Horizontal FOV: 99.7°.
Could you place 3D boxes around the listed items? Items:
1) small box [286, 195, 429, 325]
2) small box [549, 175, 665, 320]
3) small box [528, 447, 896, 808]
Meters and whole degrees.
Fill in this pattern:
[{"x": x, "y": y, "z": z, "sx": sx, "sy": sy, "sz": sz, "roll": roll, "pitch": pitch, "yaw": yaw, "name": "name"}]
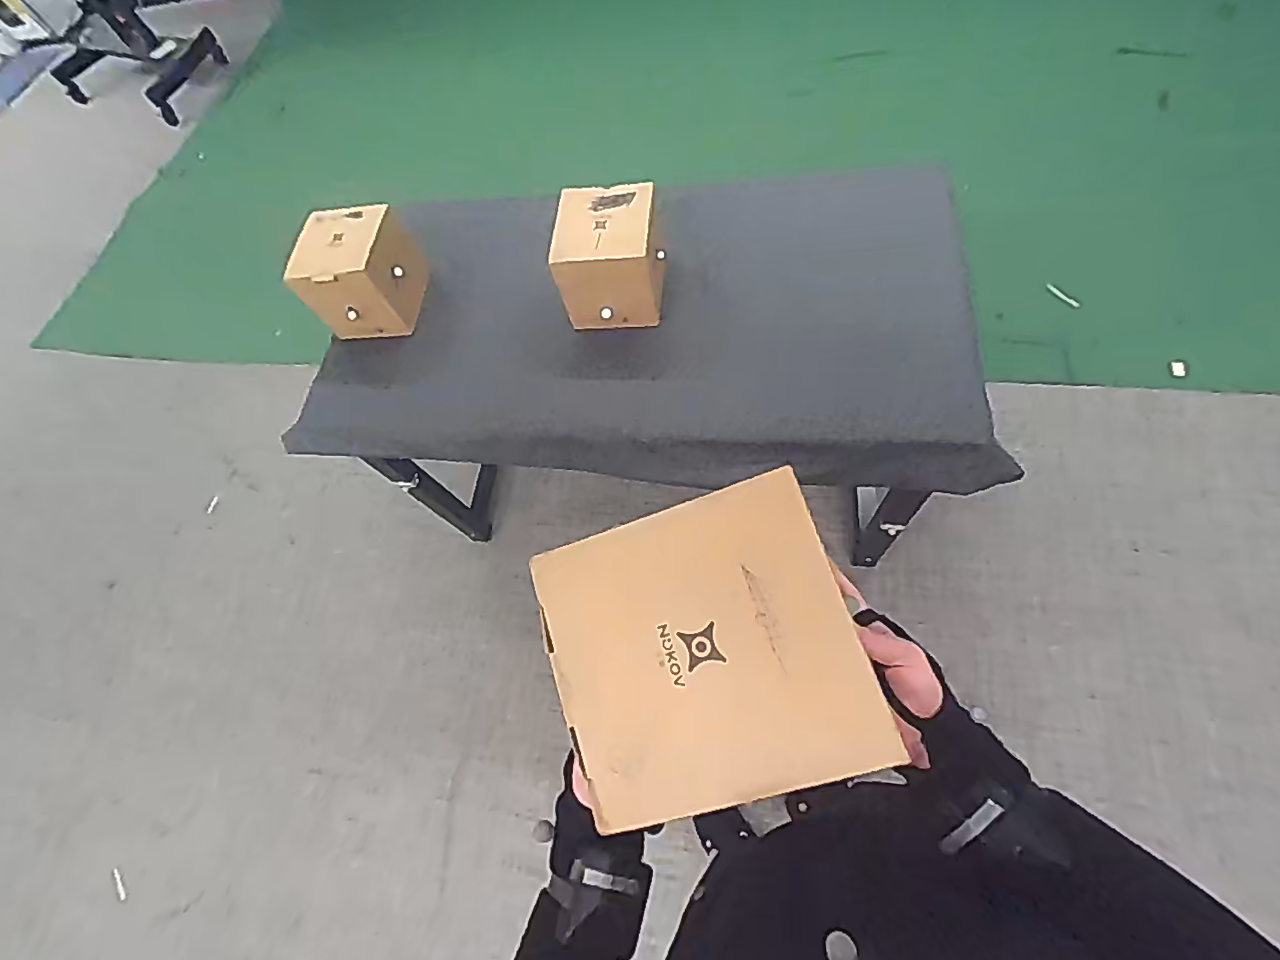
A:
[{"x": -0.540, "y": -0.421, "z": 1.062, "sx": 0.168, "sy": 0.176, "sz": 0.179, "roll": 0, "pitch": 66, "yaw": 9, "name": "small box"}, {"x": -0.048, "y": -0.411, "z": 0.971, "sx": 0.168, "sy": 0.176, "sz": 0.179, "roll": 1, "pitch": 67, "yaw": 11, "name": "small box"}, {"x": 0.050, "y": 0.097, "z": 0.386, "sx": 0.179, "sy": 0.176, "sz": 0.168, "roll": -21, "pitch": 77, "yaw": 10, "name": "small box"}]
